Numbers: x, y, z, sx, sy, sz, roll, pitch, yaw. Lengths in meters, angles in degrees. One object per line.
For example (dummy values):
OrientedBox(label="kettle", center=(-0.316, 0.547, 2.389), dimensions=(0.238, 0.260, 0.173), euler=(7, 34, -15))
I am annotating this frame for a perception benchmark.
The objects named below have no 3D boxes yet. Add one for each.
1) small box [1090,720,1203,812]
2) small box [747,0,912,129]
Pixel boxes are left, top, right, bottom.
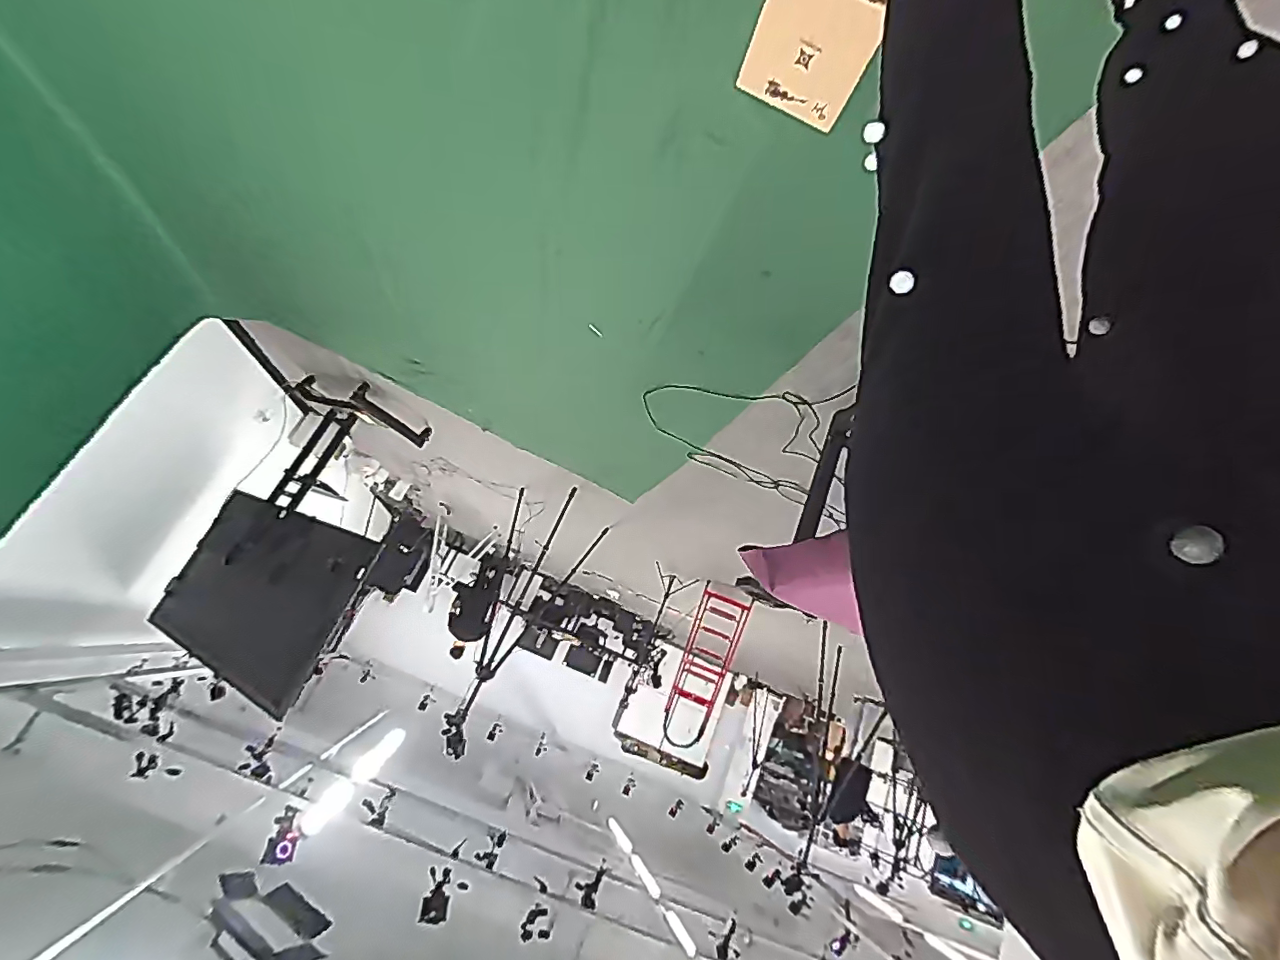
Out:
OrientedBox(label="small box", center=(1.436, 0.798, 1.531), dimensions=(0.168, 0.176, 0.179), euler=(24, 160, 0))
OrientedBox(label="small box", center=(0.284, -0.679, 0.792), dimensions=(0.168, 0.176, 0.179), euler=(26, 160, -2))
